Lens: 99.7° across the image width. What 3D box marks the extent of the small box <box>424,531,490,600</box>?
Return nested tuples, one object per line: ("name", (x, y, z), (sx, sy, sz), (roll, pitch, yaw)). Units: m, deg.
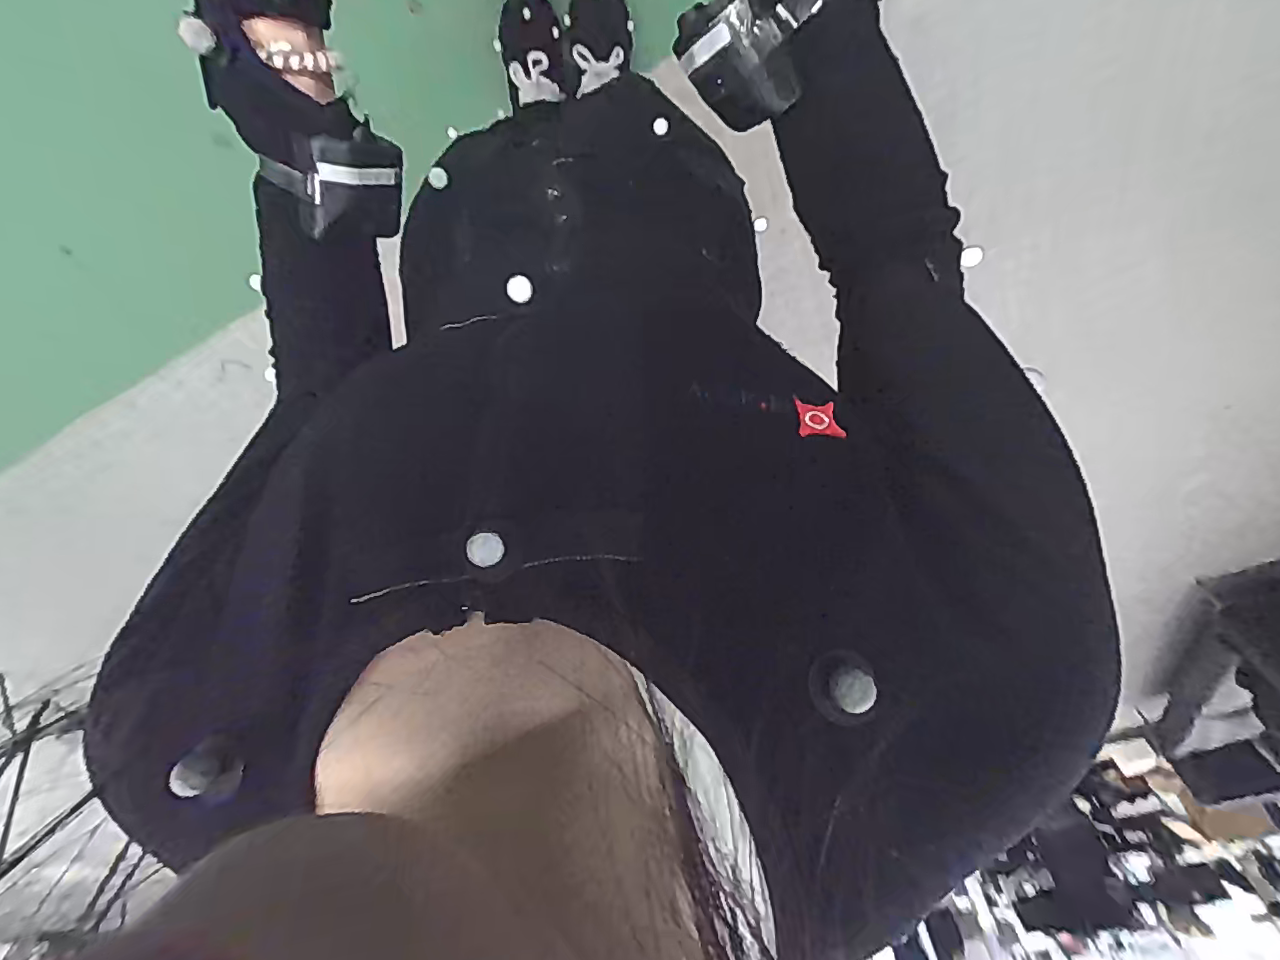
("small box", (-0.685, 0.320, 2.043), (0.179, 0.176, 0.168), (-28, 133, 20))
